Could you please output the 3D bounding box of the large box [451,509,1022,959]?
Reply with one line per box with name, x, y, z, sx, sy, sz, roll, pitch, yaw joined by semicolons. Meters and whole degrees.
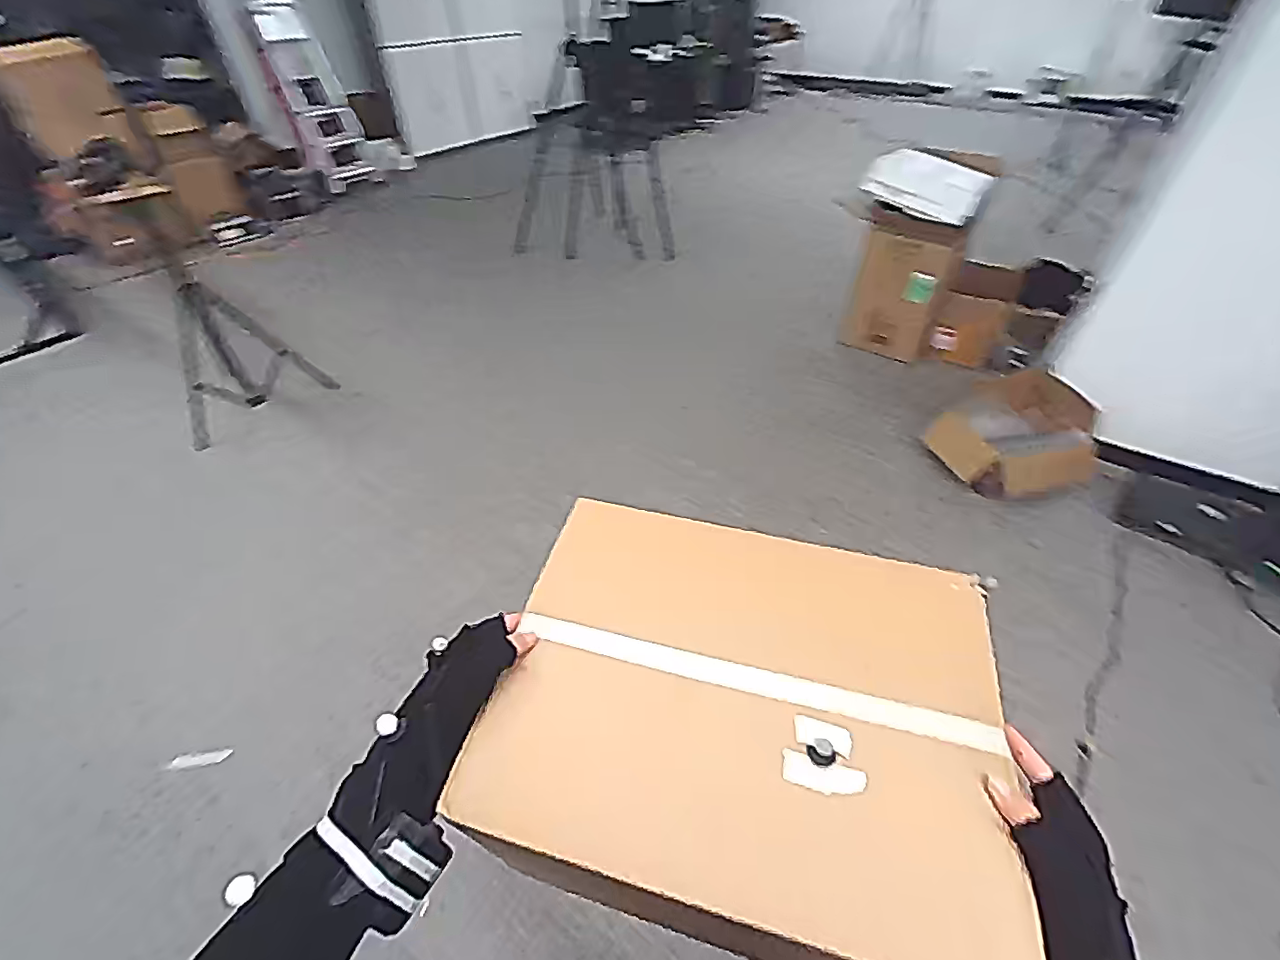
large box;0.085;0.272;0.575;0.408;0.320;0.320;11;48;11
